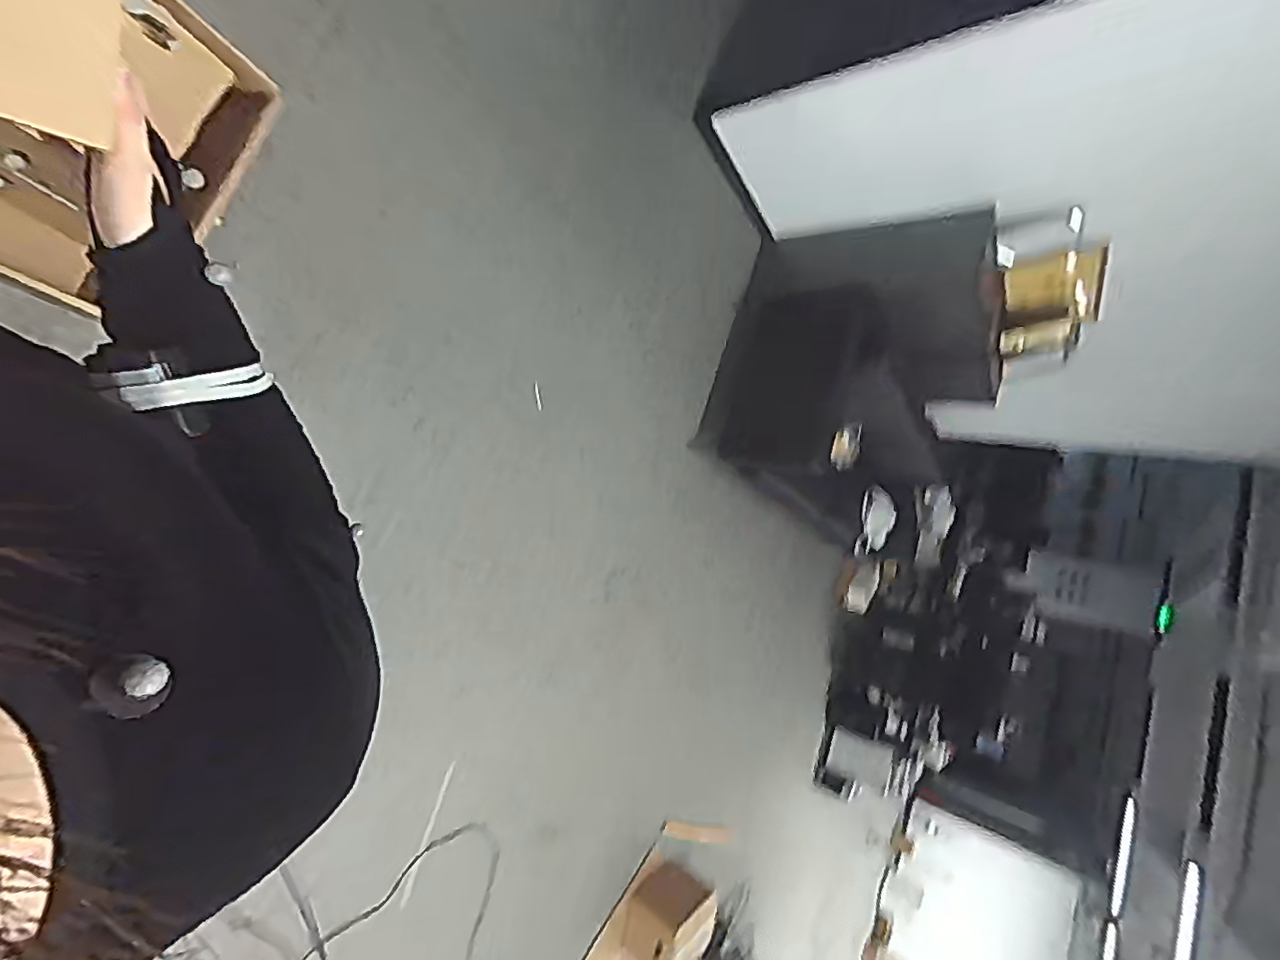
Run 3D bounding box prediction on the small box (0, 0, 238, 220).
[{"bbox_3d":[-0.553,-0.389,0.536,0.168,0.176,0.179,37,71,-49],"label":"small box"}]
